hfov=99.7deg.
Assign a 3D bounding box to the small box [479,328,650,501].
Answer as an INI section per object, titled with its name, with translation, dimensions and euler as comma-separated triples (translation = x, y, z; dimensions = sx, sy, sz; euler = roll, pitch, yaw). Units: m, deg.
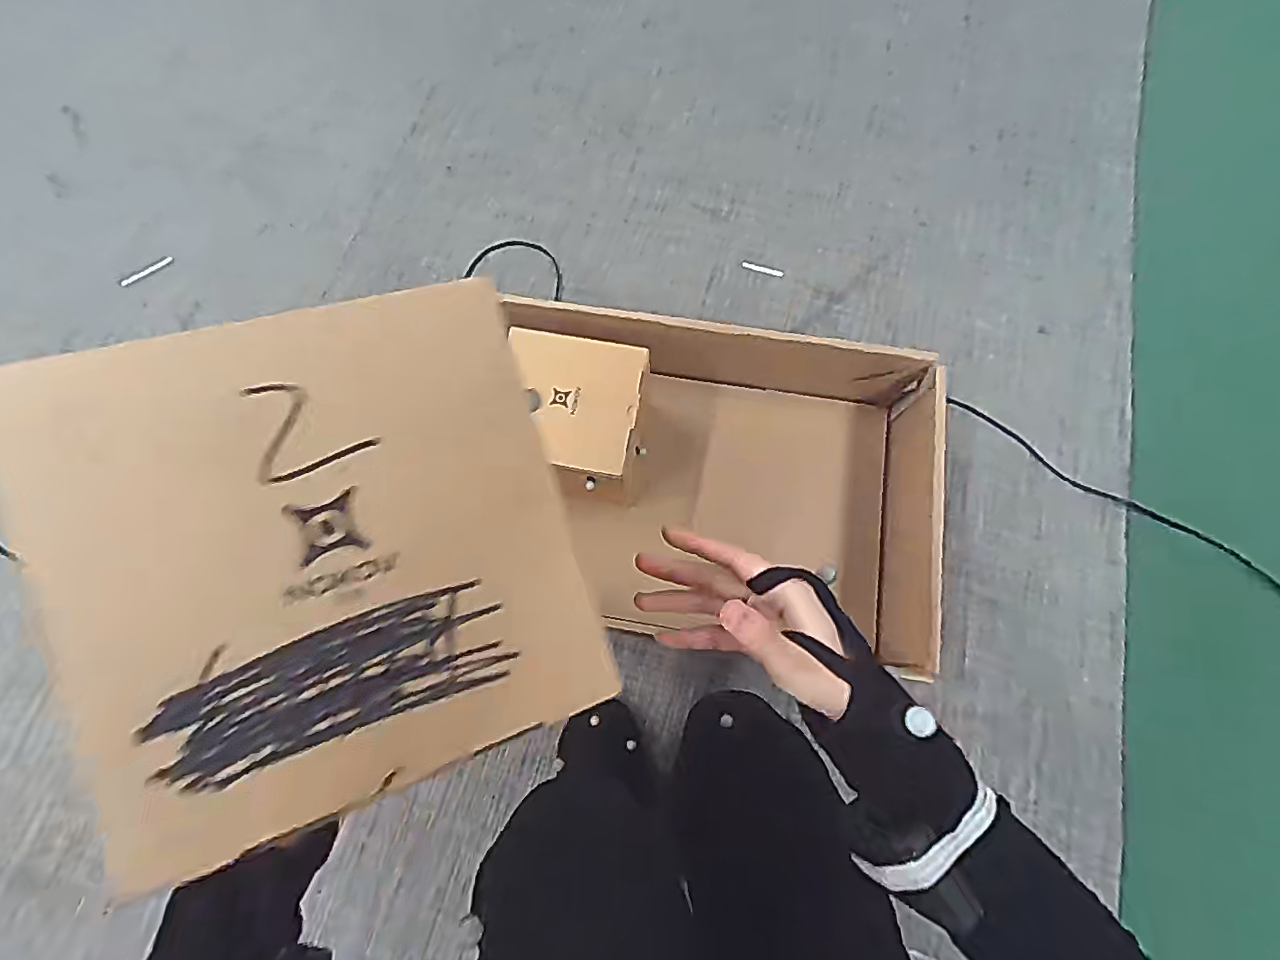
[small box]
translation = -0.086, -0.077, 0.716
dimensions = 0.179, 0.176, 0.168
euler = 9, 76, 4
